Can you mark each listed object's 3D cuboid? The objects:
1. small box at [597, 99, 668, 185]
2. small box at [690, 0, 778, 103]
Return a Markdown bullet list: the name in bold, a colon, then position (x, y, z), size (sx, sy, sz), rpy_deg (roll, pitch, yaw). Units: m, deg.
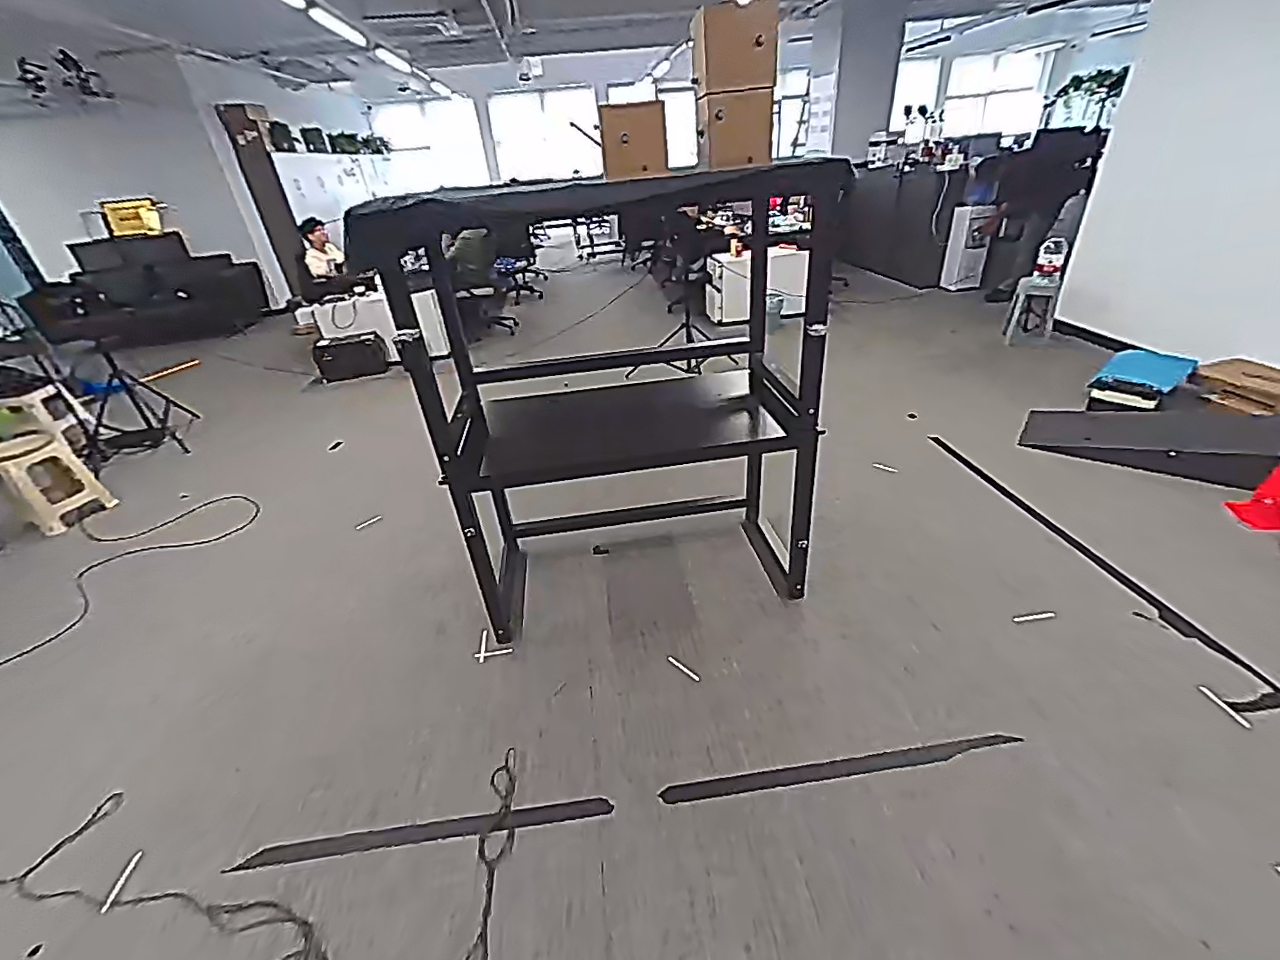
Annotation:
- **small box**: position (-0.020, -0.869, 1.402), size (0.168, 0.176, 0.179), rpy_deg (-6, 30, -1)
- **small box**: position (0.224, -1.034, 1.315), size (0.179, 0.176, 0.168), rpy_deg (-9, 29, -2)
